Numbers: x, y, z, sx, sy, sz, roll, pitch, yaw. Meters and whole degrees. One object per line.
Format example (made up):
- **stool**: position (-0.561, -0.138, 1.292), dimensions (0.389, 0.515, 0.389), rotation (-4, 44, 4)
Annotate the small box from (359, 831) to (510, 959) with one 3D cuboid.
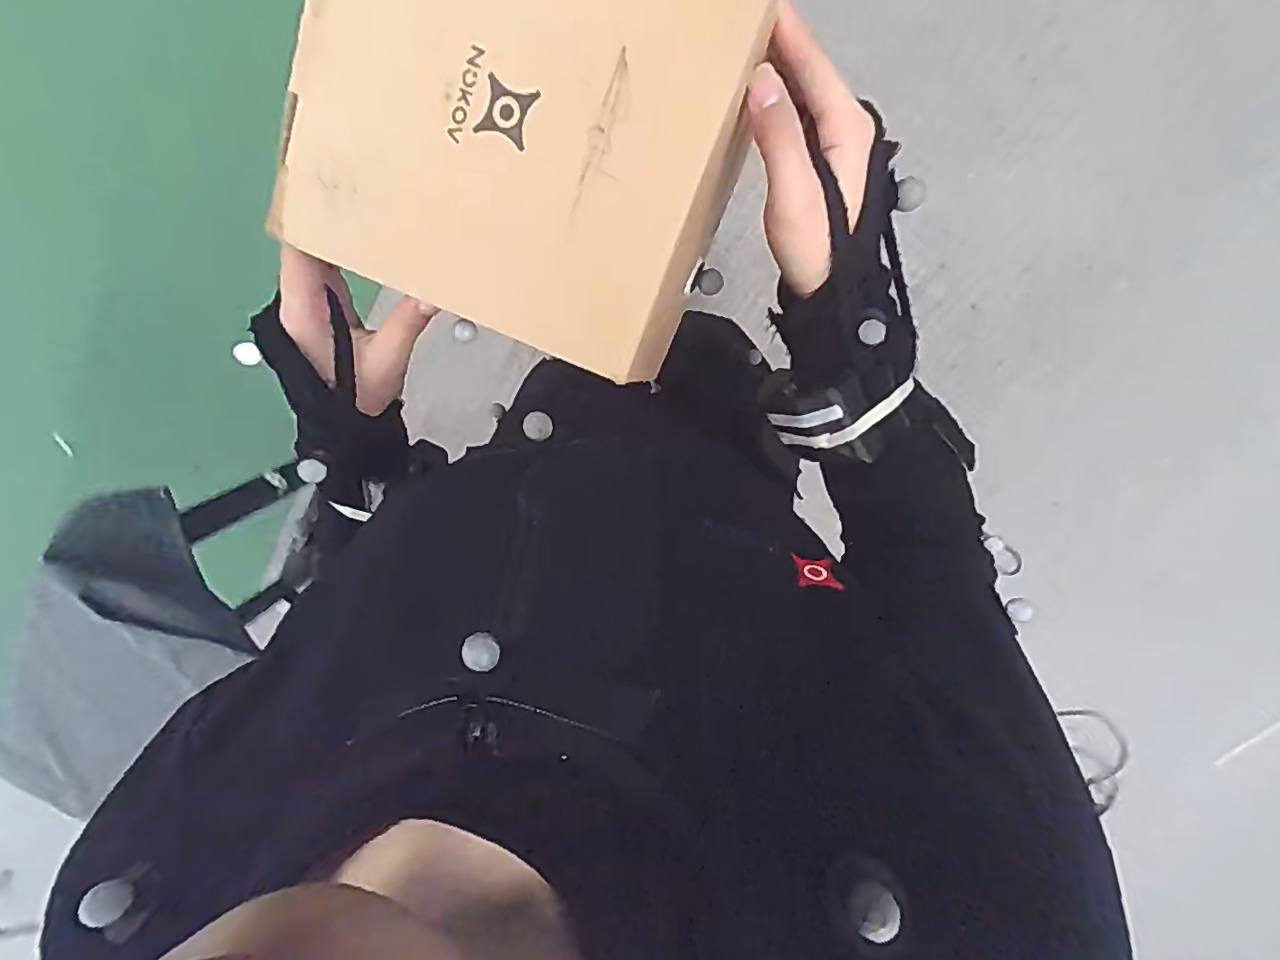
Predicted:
- **small box**: position (-0.328, 0.715, 0.864), dimensions (0.168, 0.176, 0.179), rotation (24, 112, -2)
